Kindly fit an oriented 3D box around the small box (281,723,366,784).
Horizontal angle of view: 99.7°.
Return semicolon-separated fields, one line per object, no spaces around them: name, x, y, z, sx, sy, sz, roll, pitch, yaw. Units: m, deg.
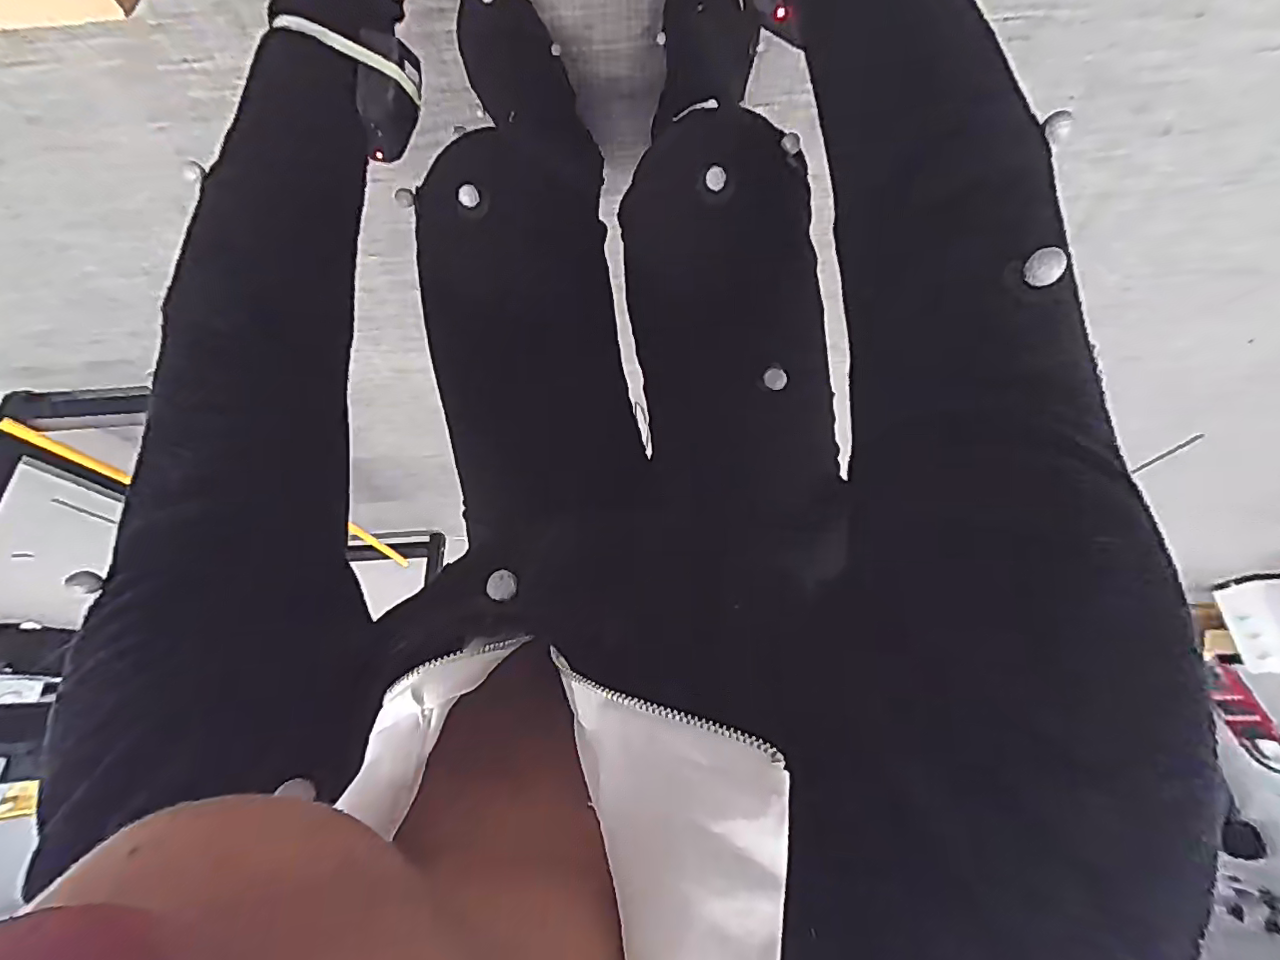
small box;-1.024;0.891;1.768;0.168;0.176;0.179;-3;155;1
